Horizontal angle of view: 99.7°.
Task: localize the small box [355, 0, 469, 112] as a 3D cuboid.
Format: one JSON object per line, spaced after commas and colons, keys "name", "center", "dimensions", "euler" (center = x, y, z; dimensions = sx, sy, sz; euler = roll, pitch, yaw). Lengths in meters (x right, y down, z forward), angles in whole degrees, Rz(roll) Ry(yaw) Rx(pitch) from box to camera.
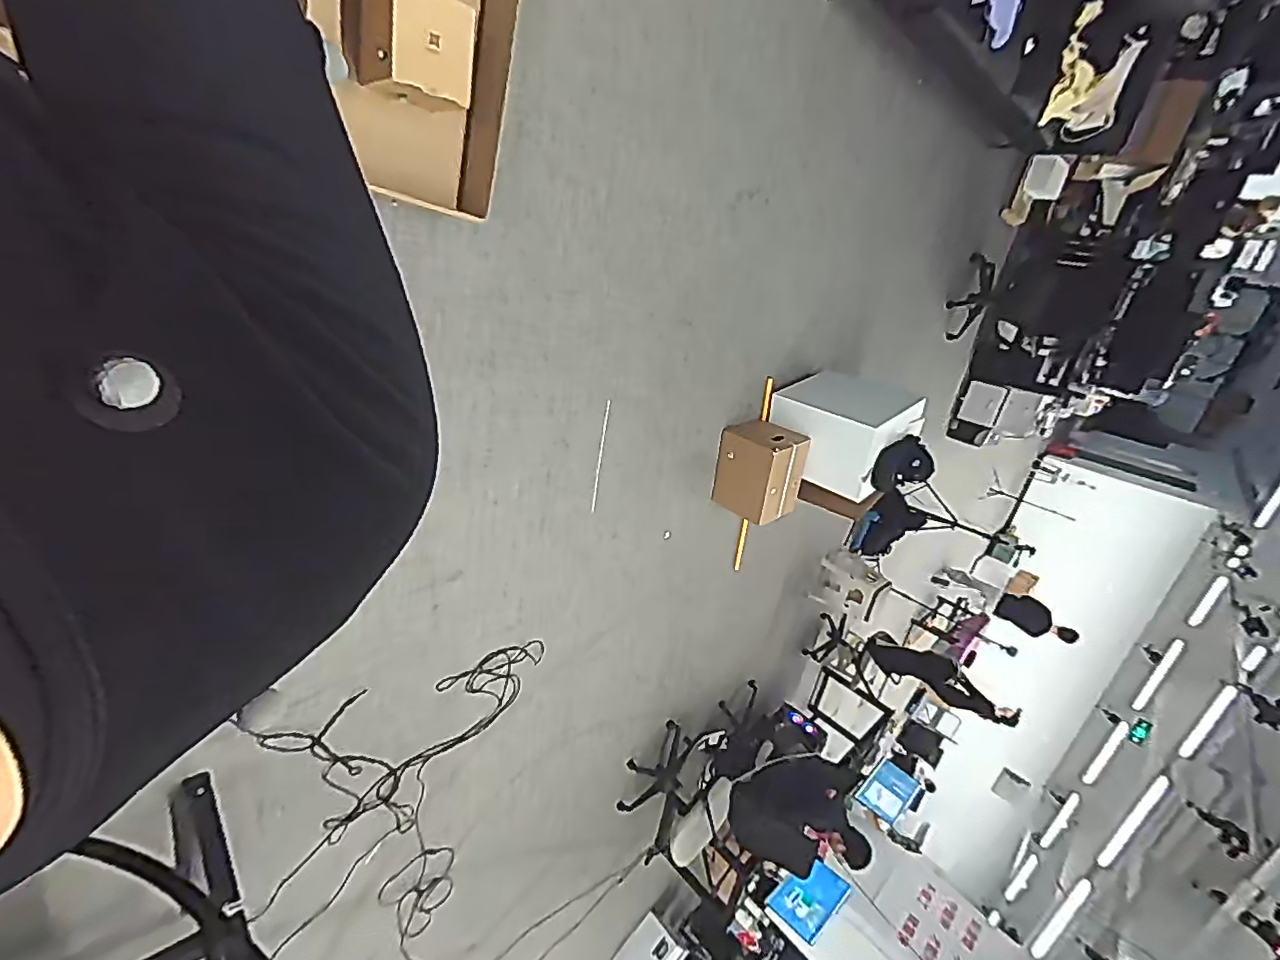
{"name": "small box", "center": [-0.471, -0.885, 1.110], "dimensions": [0.168, 0.176, 0.179], "euler": [-11, 120, -44]}
